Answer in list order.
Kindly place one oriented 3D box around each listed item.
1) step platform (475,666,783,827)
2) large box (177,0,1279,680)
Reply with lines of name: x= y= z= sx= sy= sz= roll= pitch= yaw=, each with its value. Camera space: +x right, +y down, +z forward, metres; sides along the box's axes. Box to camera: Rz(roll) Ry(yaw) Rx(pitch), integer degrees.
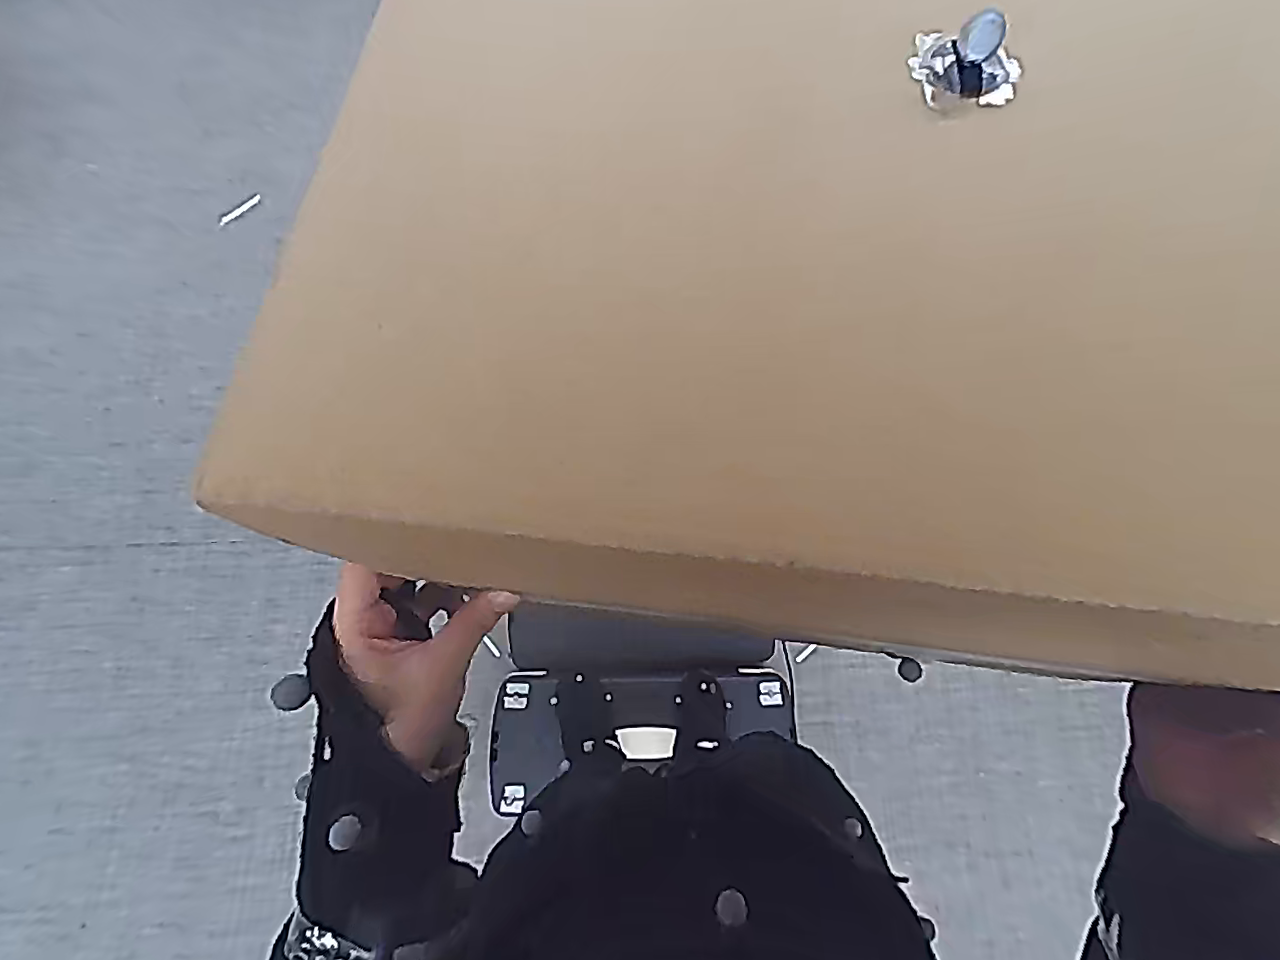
step platform: x=-0.022 y=0.601 z=1.246 sx=0.684 sy=0.204 sz=0.286 roll=4 pitch=73 yaw=1
large box: x=0.090 y=-0.075 z=0.311 sx=0.408 sy=0.320 sz=0.320 roll=5 pitch=74 yaw=4
